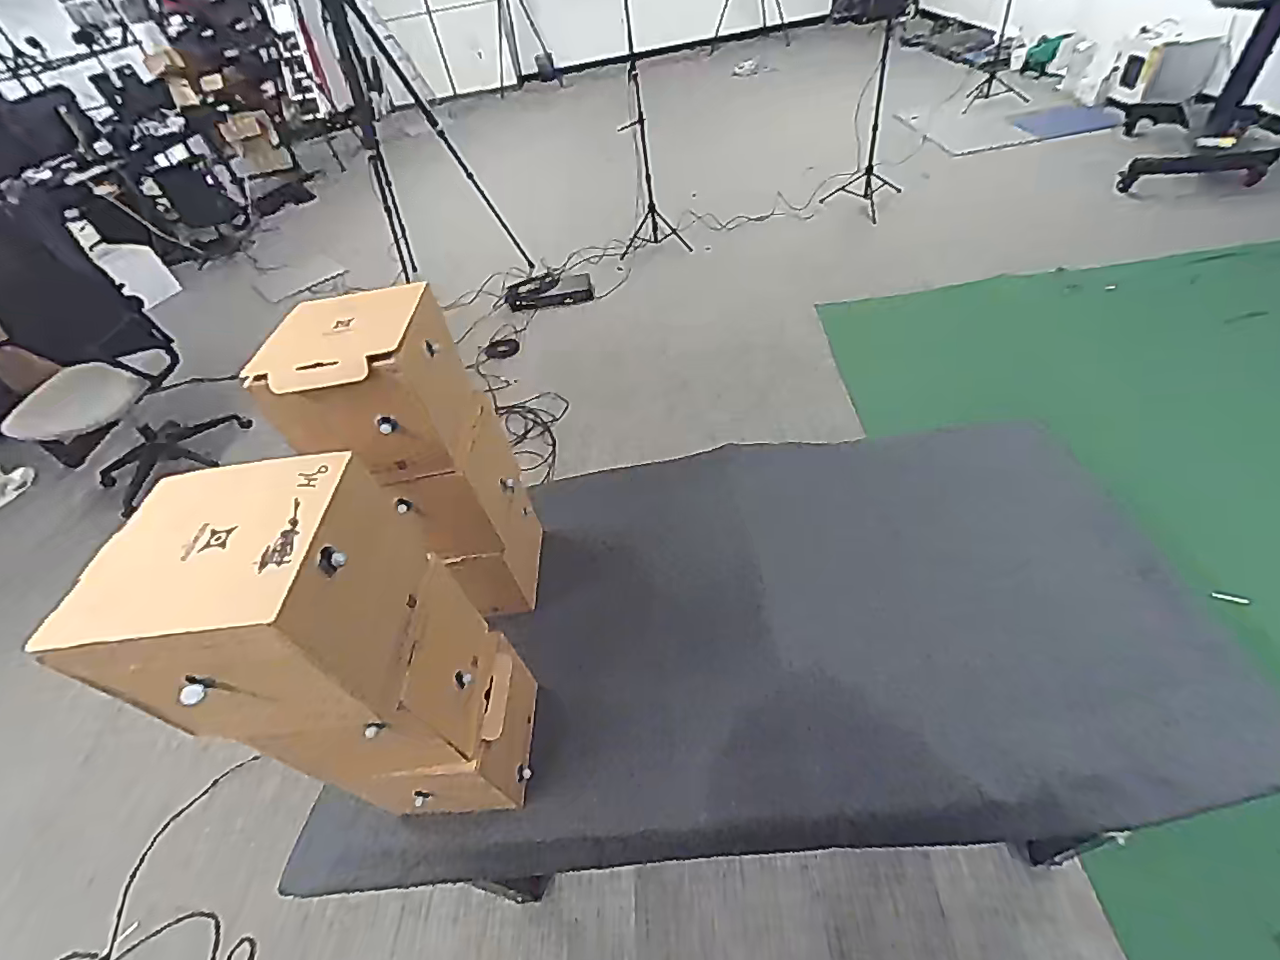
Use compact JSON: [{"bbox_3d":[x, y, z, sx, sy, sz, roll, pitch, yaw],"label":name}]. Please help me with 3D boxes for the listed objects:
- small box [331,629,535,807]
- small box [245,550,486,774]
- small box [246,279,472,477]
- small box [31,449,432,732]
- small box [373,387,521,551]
[{"bbox_3d":[-0.248,0.311,0.701,0.179,0.176,0.168,-7,47,6],"label":"small box"},{"bbox_3d":[-0.287,0.201,0.587,0.179,0.176,0.168,-9,46,2],"label":"small box"},{"bbox_3d":[-0.320,-0.116,0.662,0.168,0.176,0.179,-9,46,1],"label":"small box"},{"bbox_3d":[-0.309,0.099,0.461,0.179,0.176,0.168,-8,46,4],"label":"small box"},{"bbox_3d":[-0.289,-0.008,0.779,0.179,0.176,0.168,-7,48,5],"label":"small box"}]
